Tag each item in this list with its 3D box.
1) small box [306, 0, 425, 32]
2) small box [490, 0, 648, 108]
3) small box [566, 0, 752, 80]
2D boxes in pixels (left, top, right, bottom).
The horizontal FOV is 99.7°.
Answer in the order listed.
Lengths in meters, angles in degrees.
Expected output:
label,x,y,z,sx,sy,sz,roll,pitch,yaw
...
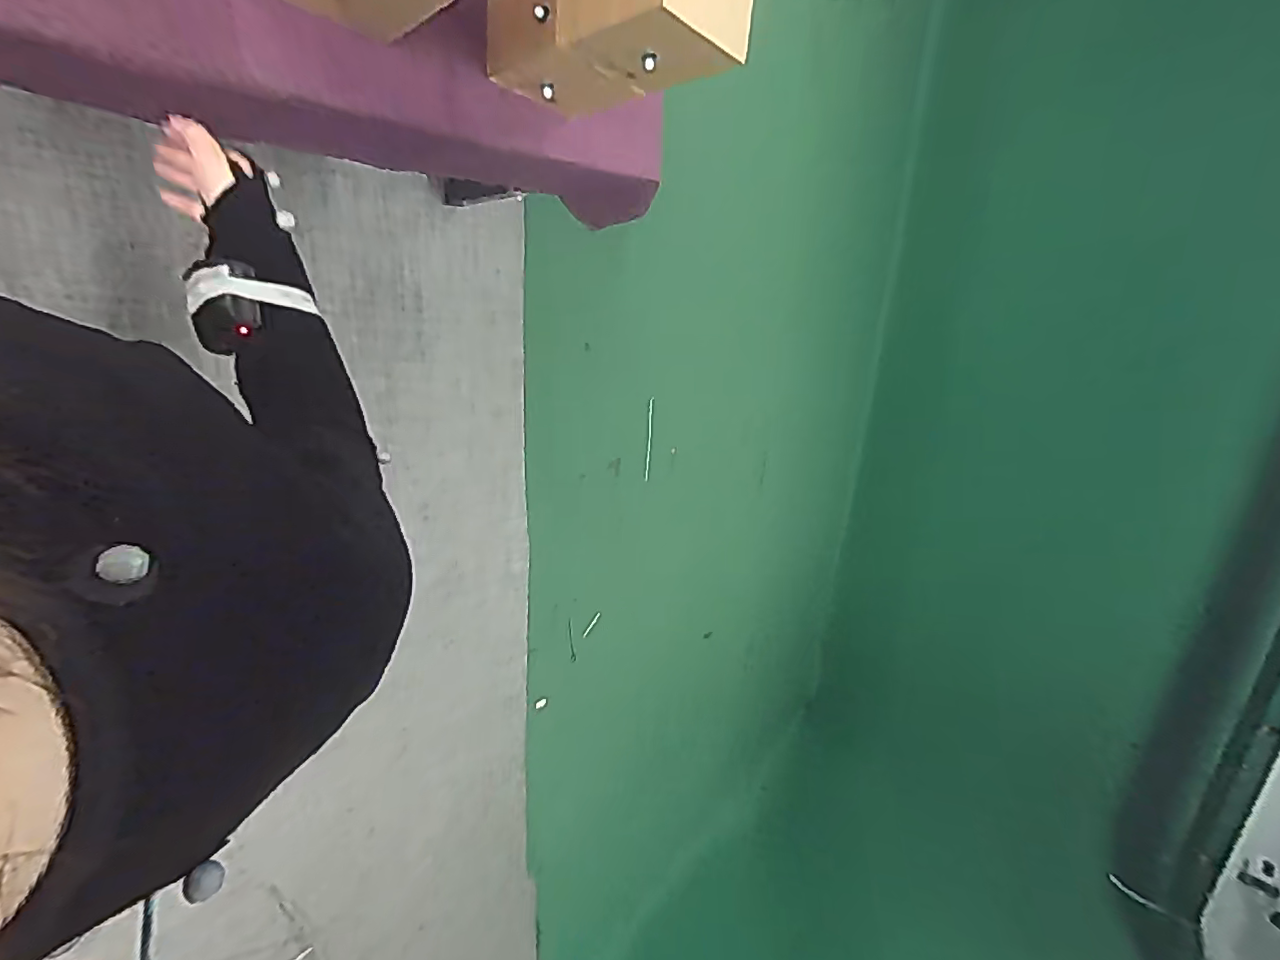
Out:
label,x,y,z,sx,sy,sz,roll,pitch,yaw
small box,-0.309,-0.597,0.543,0.179,0.176,0.168,-13,113,-45
small box,-0.098,-0.663,0.762,0.168,0.176,0.179,-12,113,-46
small box,0.024,-0.625,0.657,0.168,0.176,0.179,-14,114,-46
